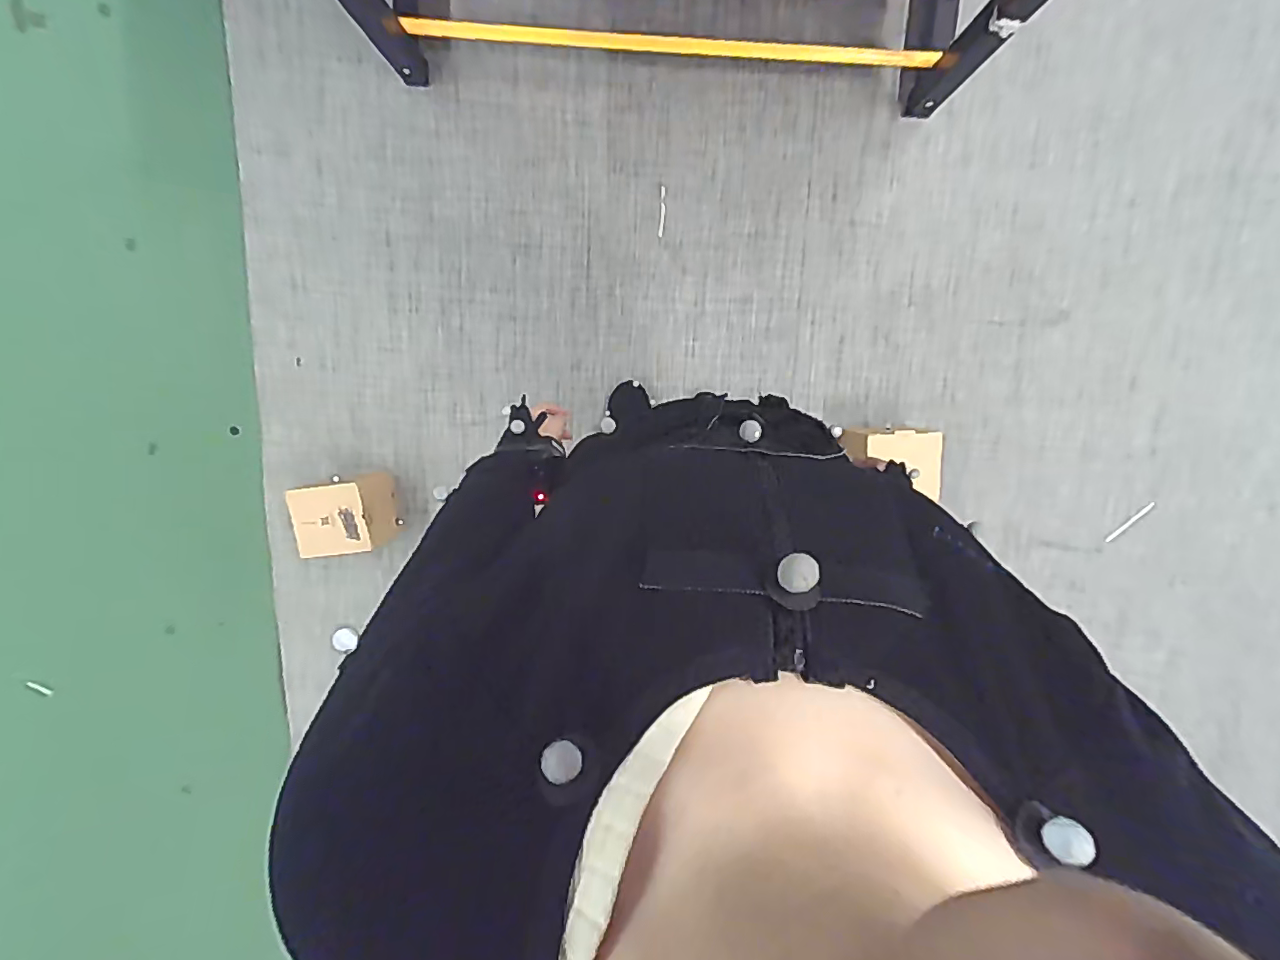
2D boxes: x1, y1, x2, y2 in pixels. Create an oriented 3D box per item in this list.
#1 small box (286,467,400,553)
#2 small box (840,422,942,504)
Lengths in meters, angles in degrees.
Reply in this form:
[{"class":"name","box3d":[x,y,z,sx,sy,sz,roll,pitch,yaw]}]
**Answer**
[{"class":"small box","box3d":[-0.708,0.067,1.315,0.179,0.176,0.168,-7,100,3]},{"class":"small box","box3d":[0.580,-0.046,1.269,0.168,0.176,0.179,-2,100,2]}]
